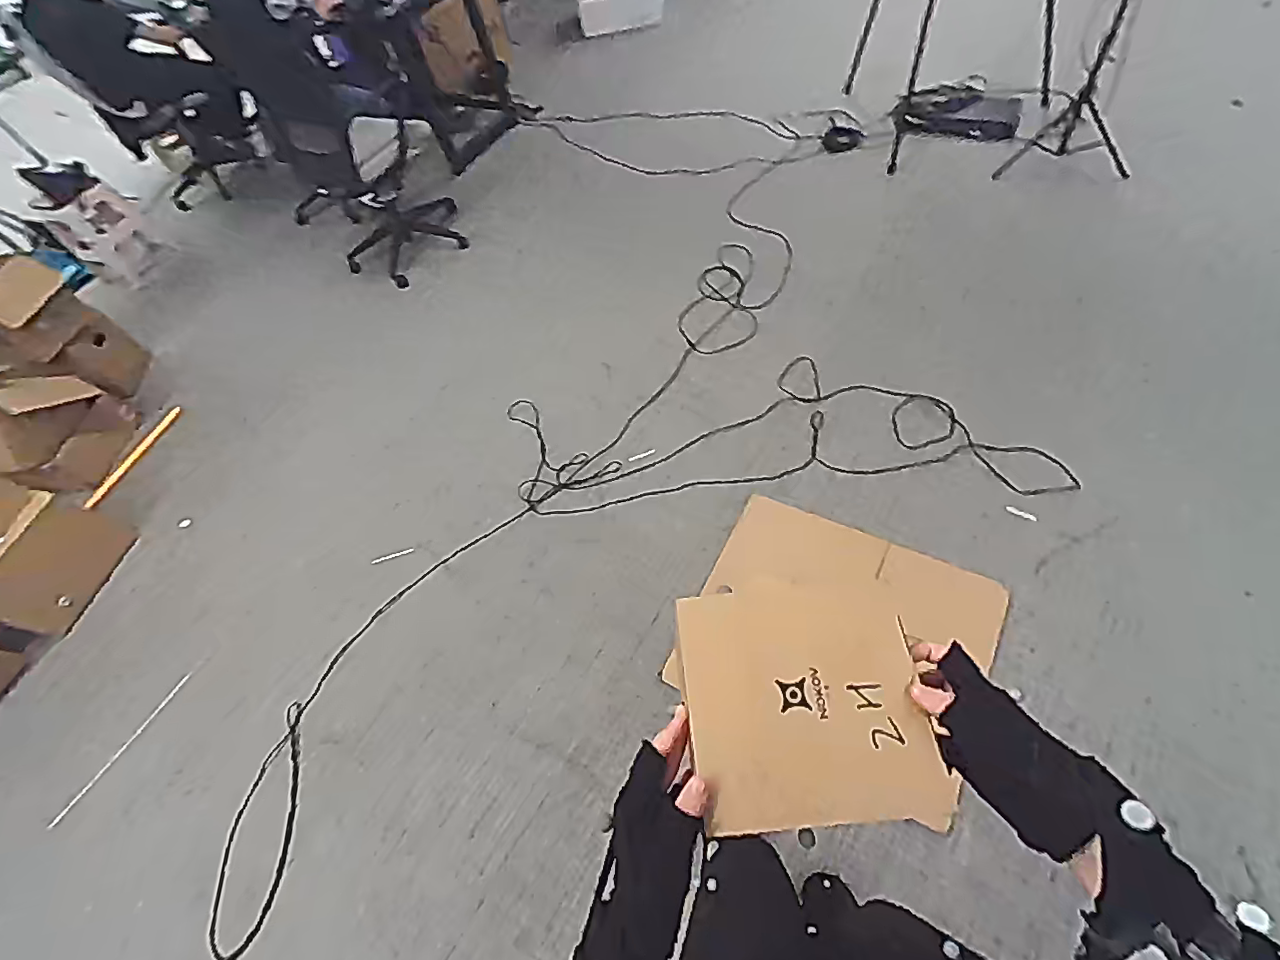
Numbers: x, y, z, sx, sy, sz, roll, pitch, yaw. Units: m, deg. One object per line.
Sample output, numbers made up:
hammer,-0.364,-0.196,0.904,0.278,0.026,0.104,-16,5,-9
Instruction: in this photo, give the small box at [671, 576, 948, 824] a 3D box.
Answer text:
small box,0.122,0.194,0.472,0.179,0.176,0.168,-5,63,1
